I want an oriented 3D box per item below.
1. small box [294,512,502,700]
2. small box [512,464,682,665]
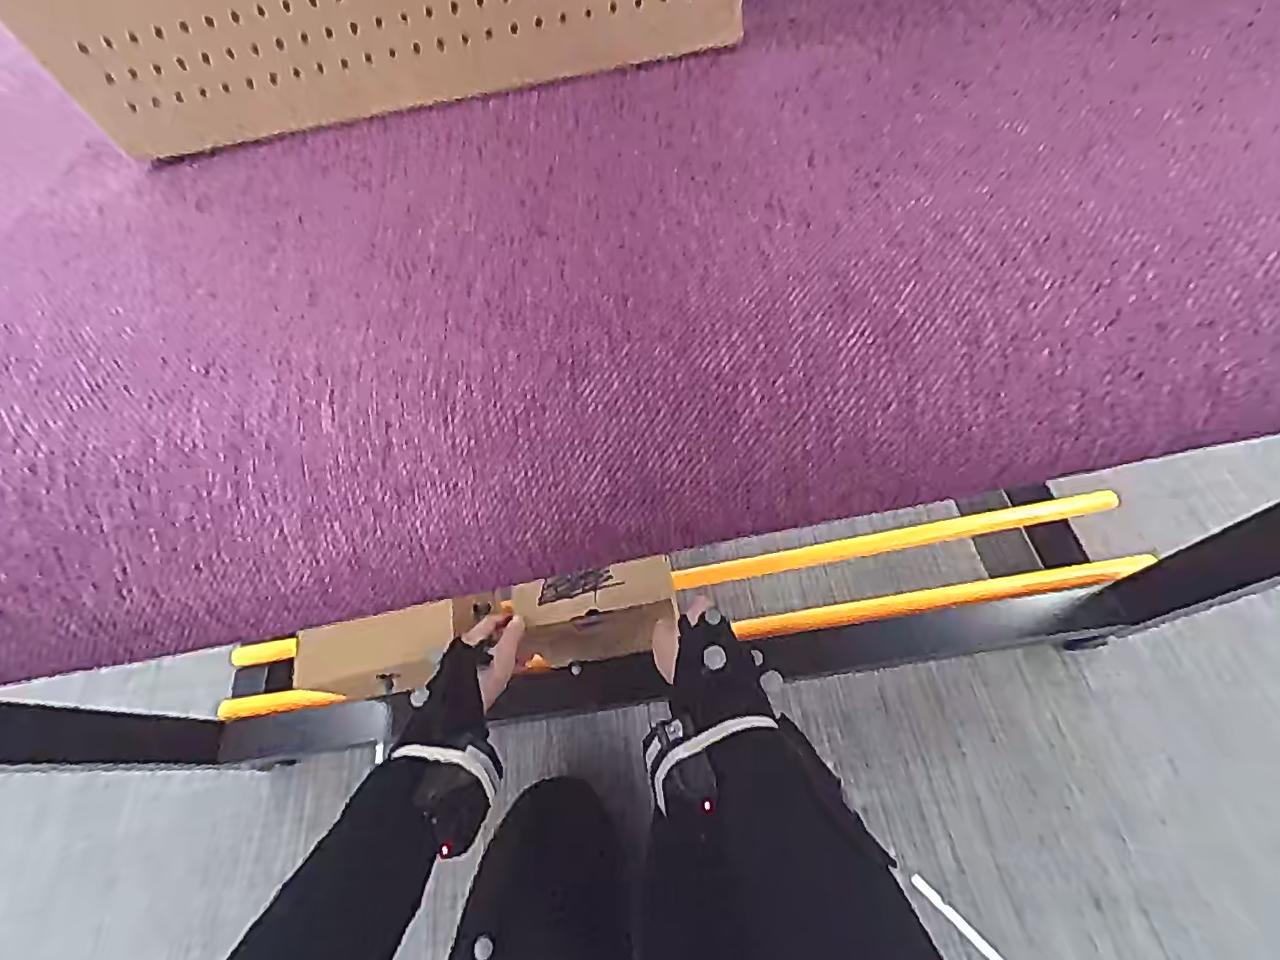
[{"bbox_3d":[-0.277,0.161,0.660,0.179,0.176,0.168,-14,62,0],"label":"small box"},{"bbox_3d":[-0.047,0.111,0.652,0.168,0.176,0.179,-11,54,2],"label":"small box"}]
